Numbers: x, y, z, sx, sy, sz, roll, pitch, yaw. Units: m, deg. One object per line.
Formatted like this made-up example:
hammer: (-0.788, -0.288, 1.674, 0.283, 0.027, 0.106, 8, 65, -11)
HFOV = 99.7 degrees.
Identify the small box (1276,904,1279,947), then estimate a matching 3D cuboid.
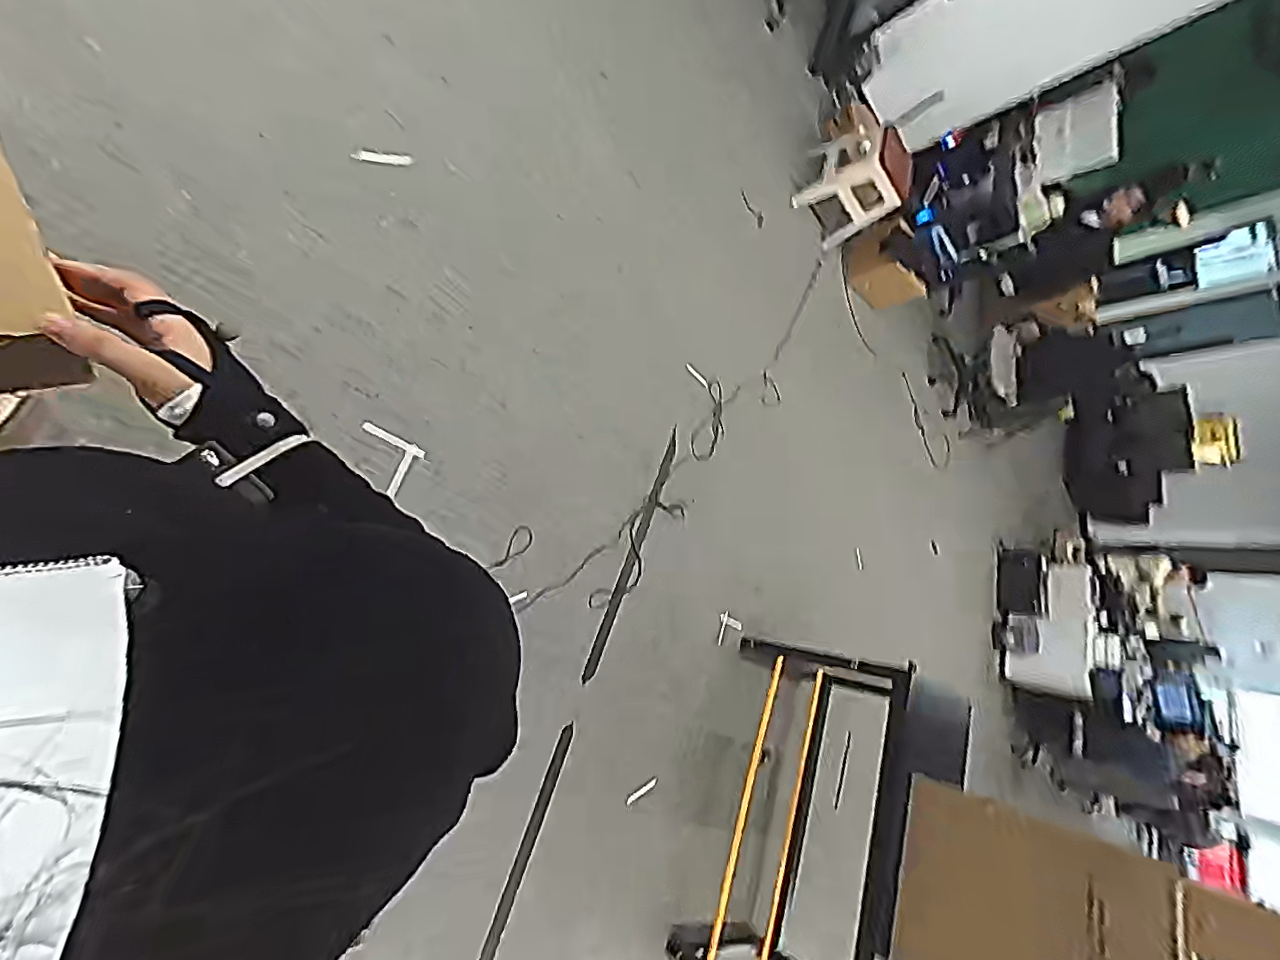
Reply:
small box: (1.555, 1.082, 1.205, 0.179, 0.176, 0.168, 31, 66, -35)

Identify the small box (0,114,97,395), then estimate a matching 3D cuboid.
small box: (-0.488, -0.143, 0.344, 0.168, 0.176, 0.179, -23, 104, -42)

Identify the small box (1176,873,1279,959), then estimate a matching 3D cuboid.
small box: (1.446, 1.096, 1.329, 0.179, 0.176, 0.168, 28, 68, -35)
